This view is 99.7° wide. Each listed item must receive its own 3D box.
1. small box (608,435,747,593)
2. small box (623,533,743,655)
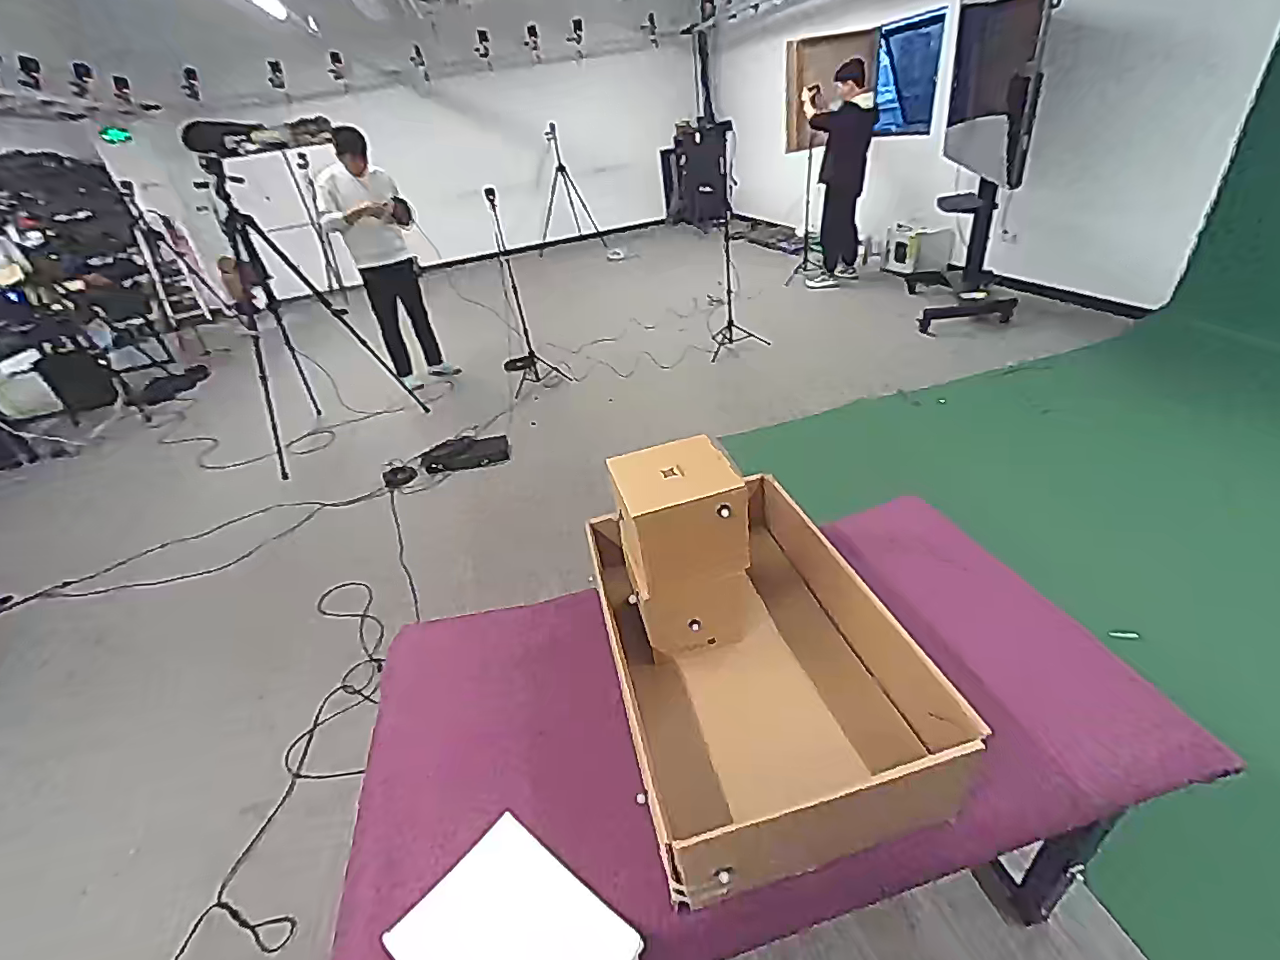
[{"bbox_3d":[0.061,0.055,0.867,0.179,0.176,0.168,-15,35,-9],"label":"small box"},{"bbox_3d":[0.077,0.187,0.959,0.168,0.176,0.179,-14,35,-6],"label":"small box"}]
